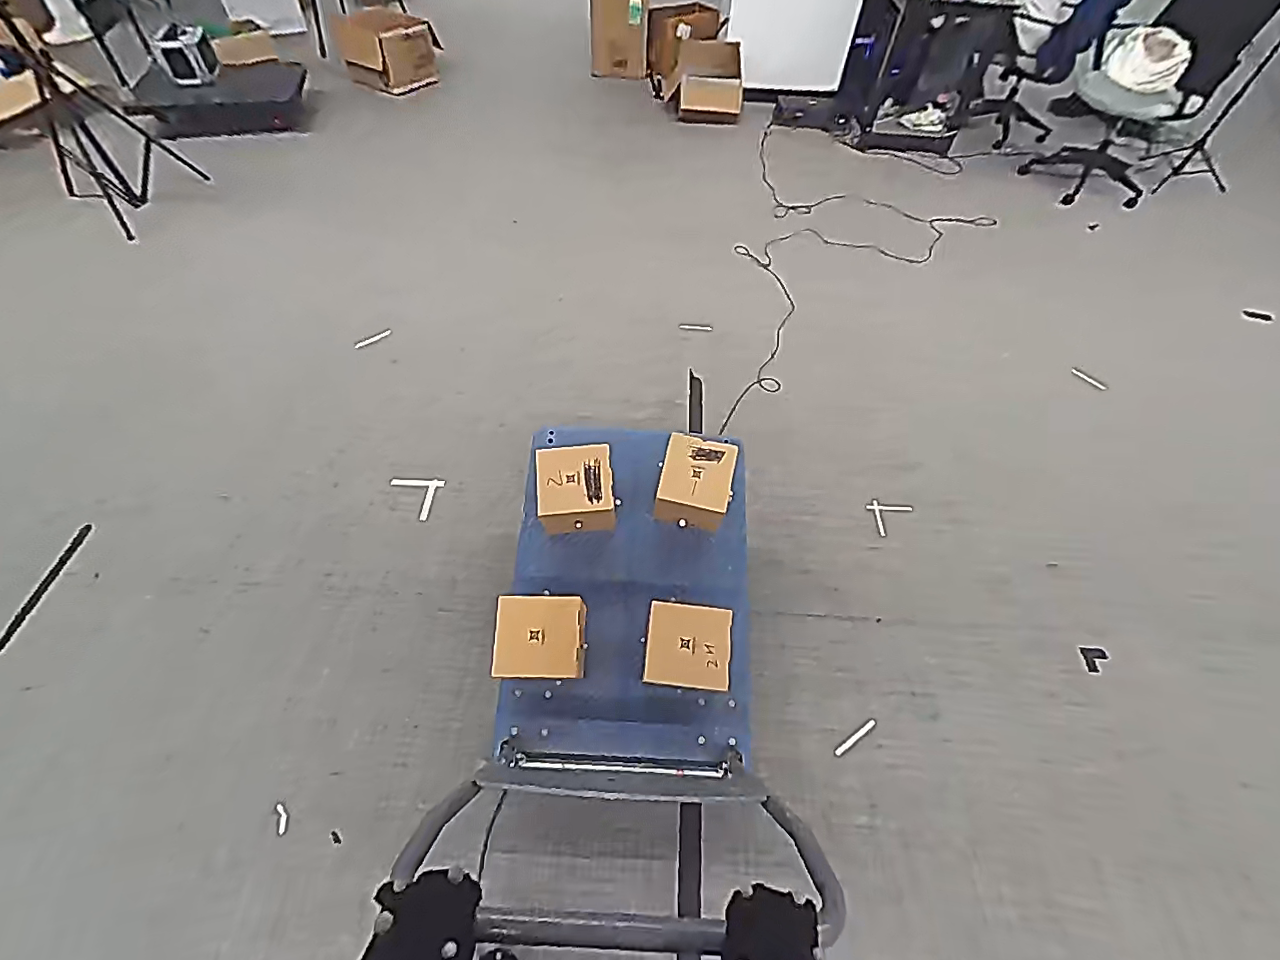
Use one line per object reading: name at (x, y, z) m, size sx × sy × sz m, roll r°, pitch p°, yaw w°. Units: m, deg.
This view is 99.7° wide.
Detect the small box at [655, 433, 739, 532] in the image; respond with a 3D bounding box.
small box at (0.135, 0.012, 1.339) m, size 0.168 × 0.176 × 0.179 m, roll 13°, pitch 70°, yaw 4°

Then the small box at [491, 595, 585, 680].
small box at (-0.217, 0.353, 1.197) m, size 0.179 × 0.176 × 0.168 m, roll 1°, pitch 68°, yaw -3°

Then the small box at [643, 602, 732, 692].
small box at (0.100, 0.374, 1.196) m, size 0.179 × 0.176 × 0.168 m, roll 7°, pitch 69°, yaw 1°
